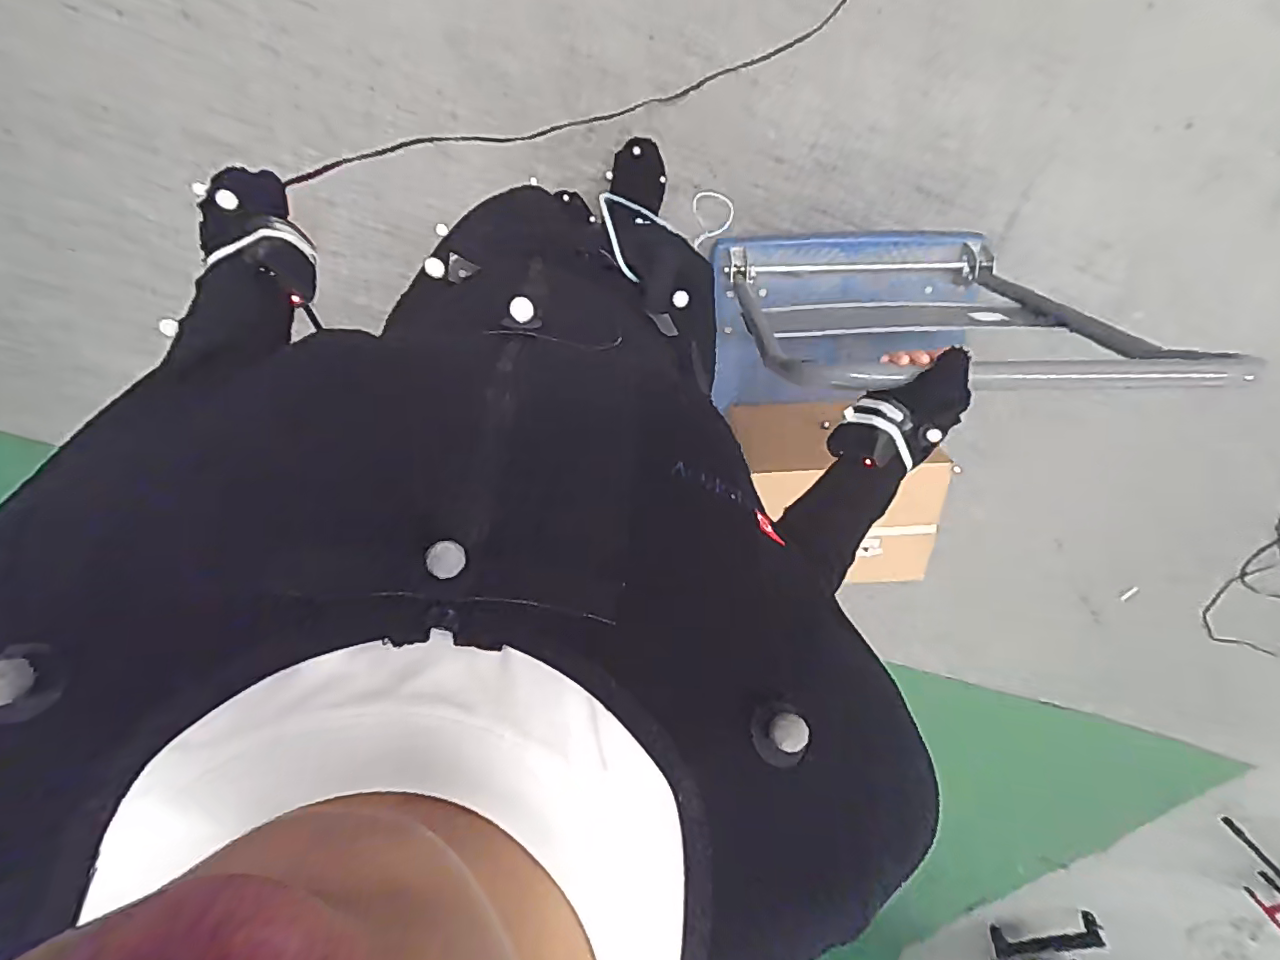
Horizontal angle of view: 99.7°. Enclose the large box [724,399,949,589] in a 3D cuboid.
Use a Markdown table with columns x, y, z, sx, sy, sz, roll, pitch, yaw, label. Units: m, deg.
| x | y | z | sx | sy | sz | roll | pitch | yaw | label |
| --- | --- | --- | --- | --- | --- | --- | --- | --- | --- |
| 0.417 | 0.025 | 1.263 | 0.408 | 0.320 | 0.320 | -4 | 124 | 3 | large box |
